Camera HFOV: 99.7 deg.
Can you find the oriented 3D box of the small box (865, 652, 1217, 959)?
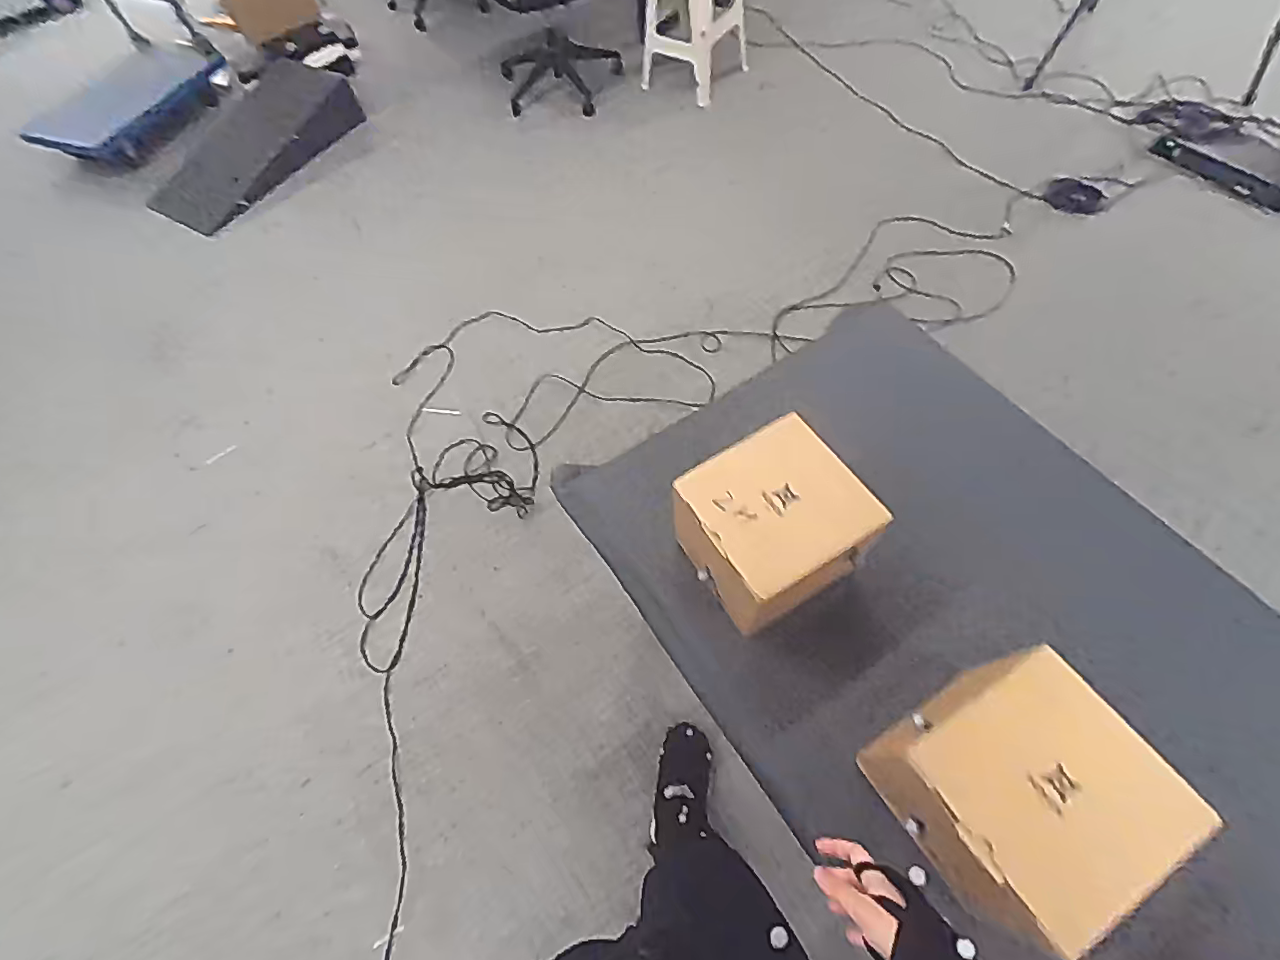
[{"bbox_3d":[0.354,0.294,0.520,0.179,0.176,0.168,-30,64,-11],"label":"small box"}]

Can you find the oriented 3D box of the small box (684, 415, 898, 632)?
[{"bbox_3d":[0.164,0.059,0.657,0.179,0.176,0.168,-29,63,-11],"label":"small box"}]
